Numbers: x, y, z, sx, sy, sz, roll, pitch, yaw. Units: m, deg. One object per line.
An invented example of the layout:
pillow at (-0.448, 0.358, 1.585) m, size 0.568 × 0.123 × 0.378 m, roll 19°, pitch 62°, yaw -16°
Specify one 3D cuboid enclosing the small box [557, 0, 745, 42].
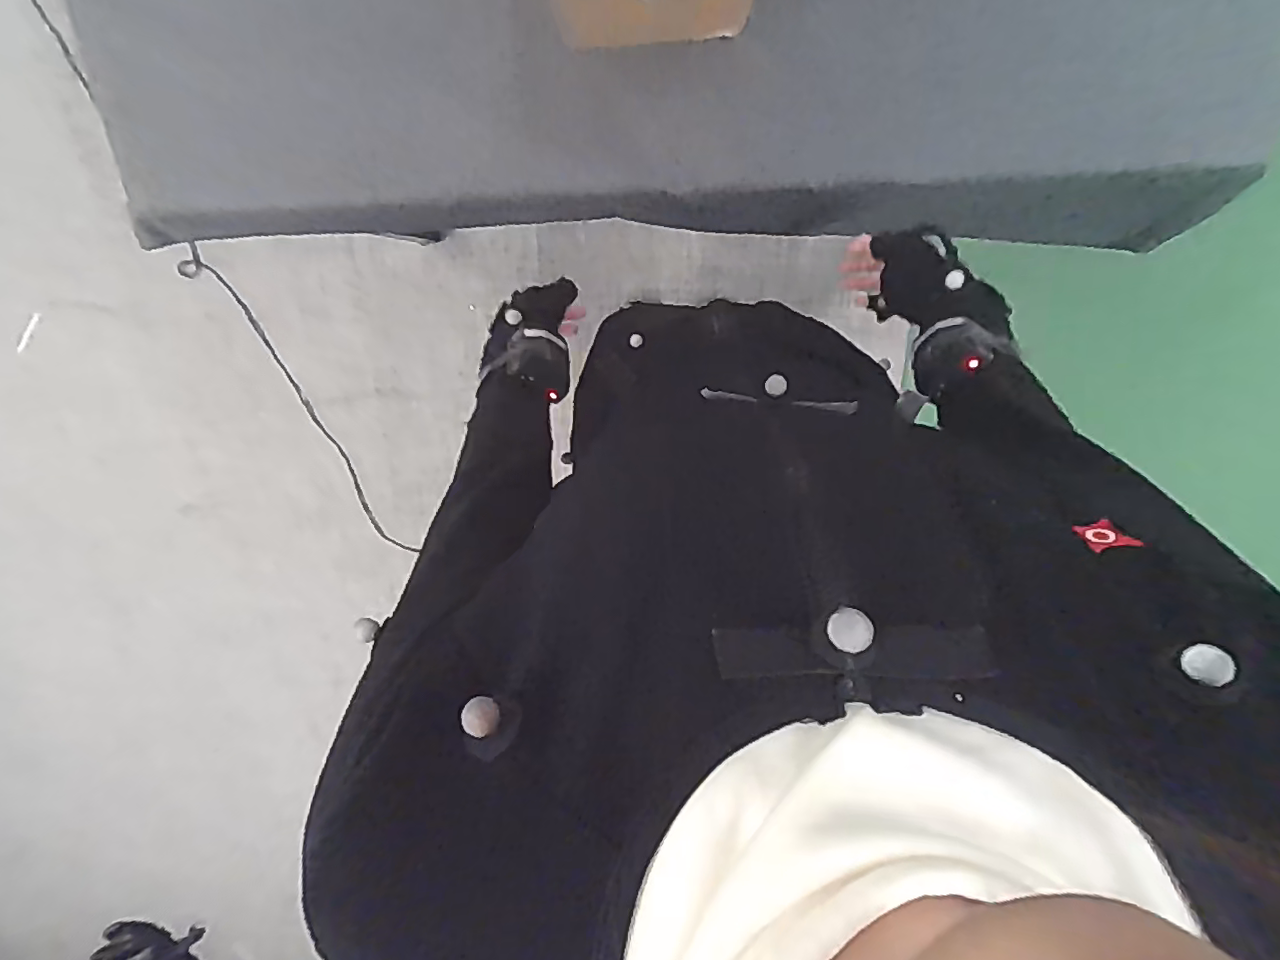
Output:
small box at (0.008, -0.487, 0.437) m, size 0.179 × 0.176 × 0.168 m, roll -2°, pitch 111°, yaw 2°
